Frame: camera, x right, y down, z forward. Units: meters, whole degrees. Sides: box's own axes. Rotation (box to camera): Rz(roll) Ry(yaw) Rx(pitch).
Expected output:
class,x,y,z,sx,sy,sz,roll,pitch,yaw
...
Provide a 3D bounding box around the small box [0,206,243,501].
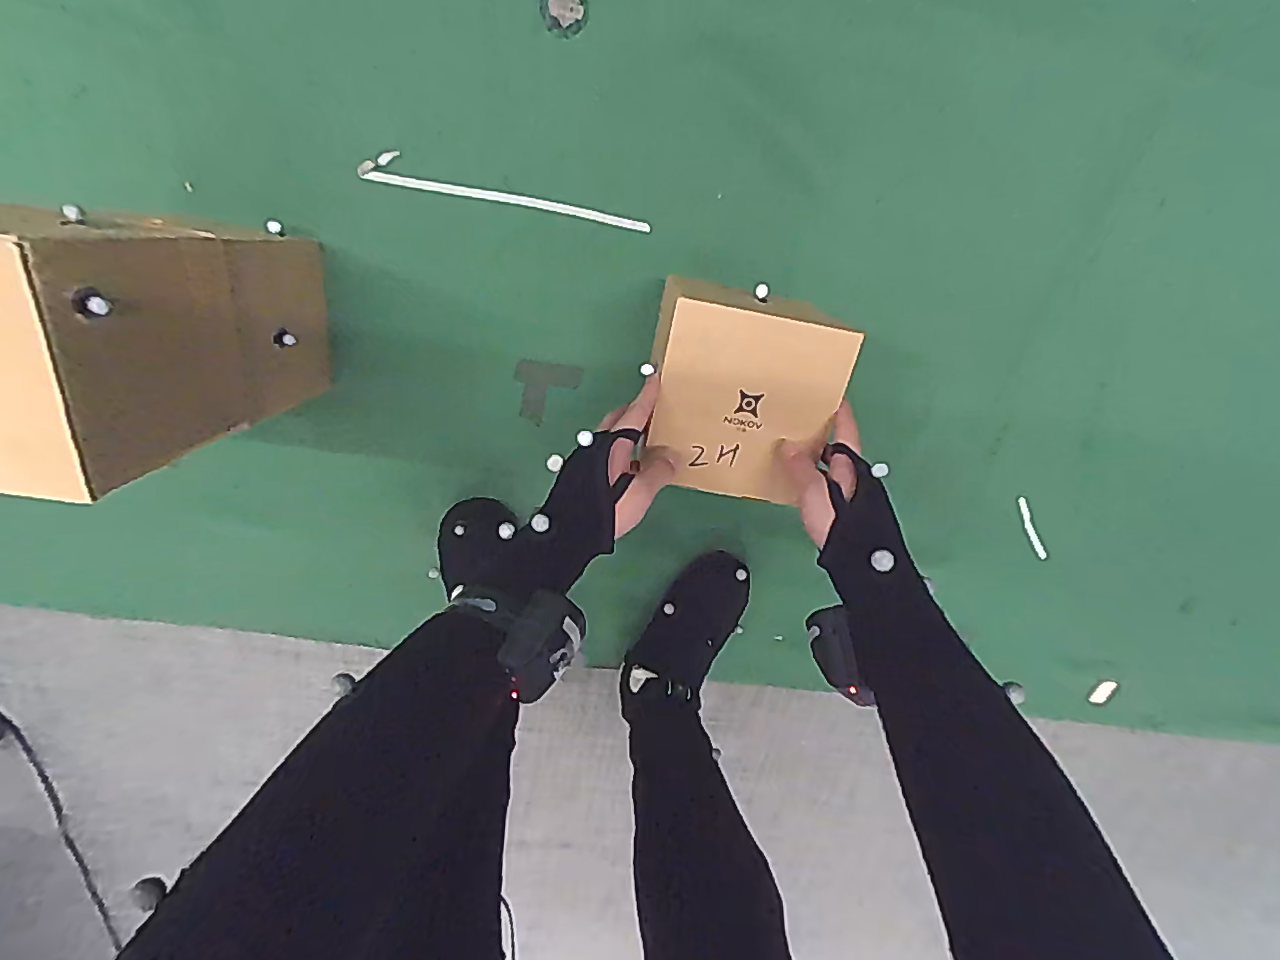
class,x,y,z,sx,sy,sz,roll,pitch,yaw
small box,-0.447,-0.106,0.417,0.168,0.176,0.179,8,113,-3

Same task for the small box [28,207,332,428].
class,x,y,z,sx,sy,sz,roll,pitch,yaw
small box,-0.450,-0.172,0.564,0.168,0.176,0.179,8,114,-3

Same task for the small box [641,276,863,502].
class,x,y,z,sx,sy,sz,roll,pitch,yaw
small box,0.095,-0.103,0.561,0.168,0.176,0.179,10,116,-5
